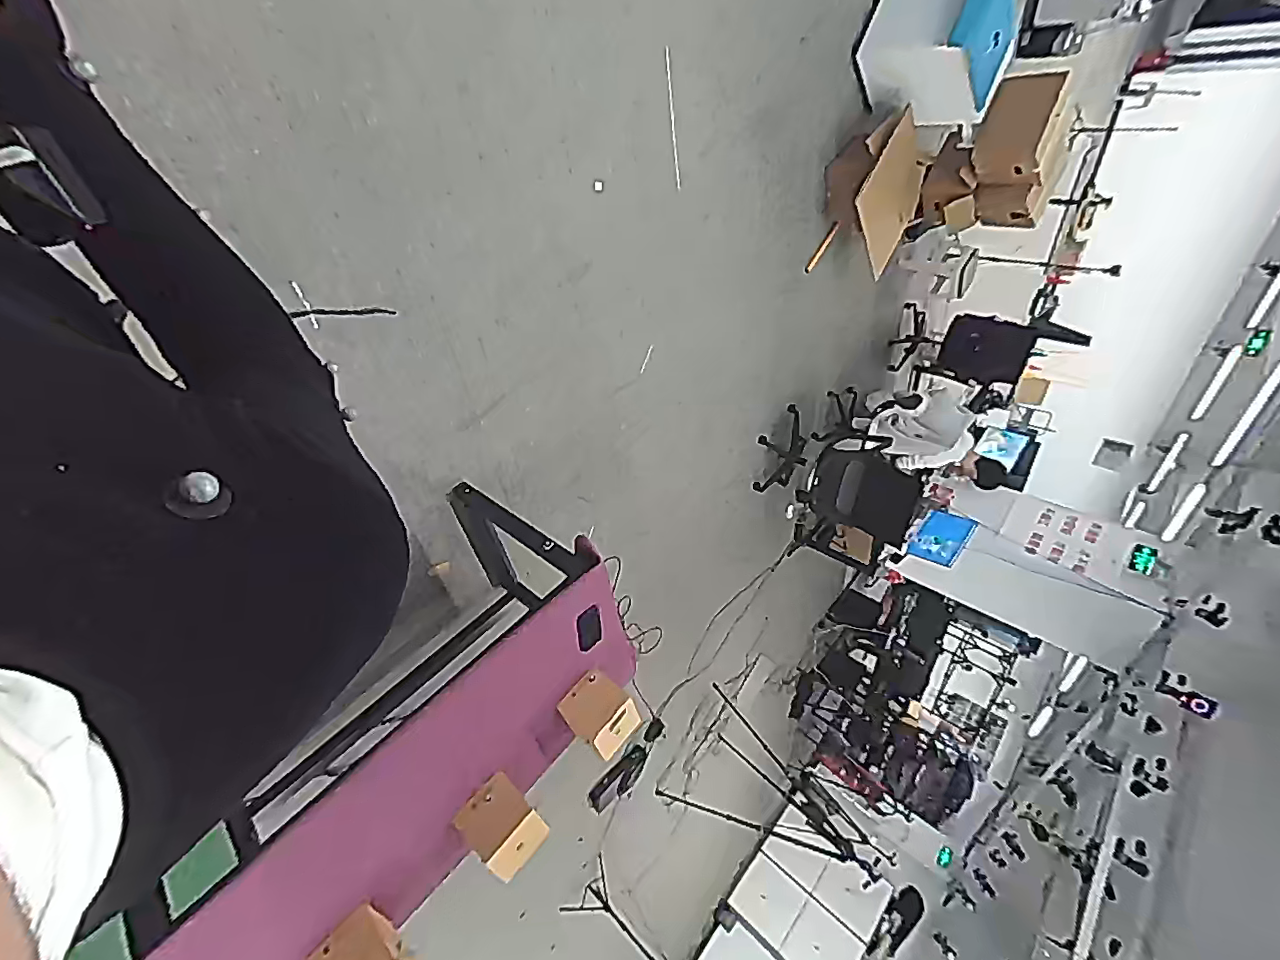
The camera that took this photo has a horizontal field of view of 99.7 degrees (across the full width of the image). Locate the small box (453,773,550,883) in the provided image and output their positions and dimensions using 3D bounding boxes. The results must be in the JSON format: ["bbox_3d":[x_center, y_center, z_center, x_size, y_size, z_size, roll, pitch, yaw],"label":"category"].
[{"bbox_3d":[-0.382,0.955,1.495,0.168,0.176,0.179,-41,138,-30],"label":"small box"}]

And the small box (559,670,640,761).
[{"bbox_3d":[-0.126,0.720,1.669,0.168,0.176,0.179,-42,140,-27],"label":"small box"}]

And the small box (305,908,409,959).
[{"bbox_3d":[-0.658,1.164,1.273,0.168,0.176,0.179,-38,137,-33],"label":"small box"}]
